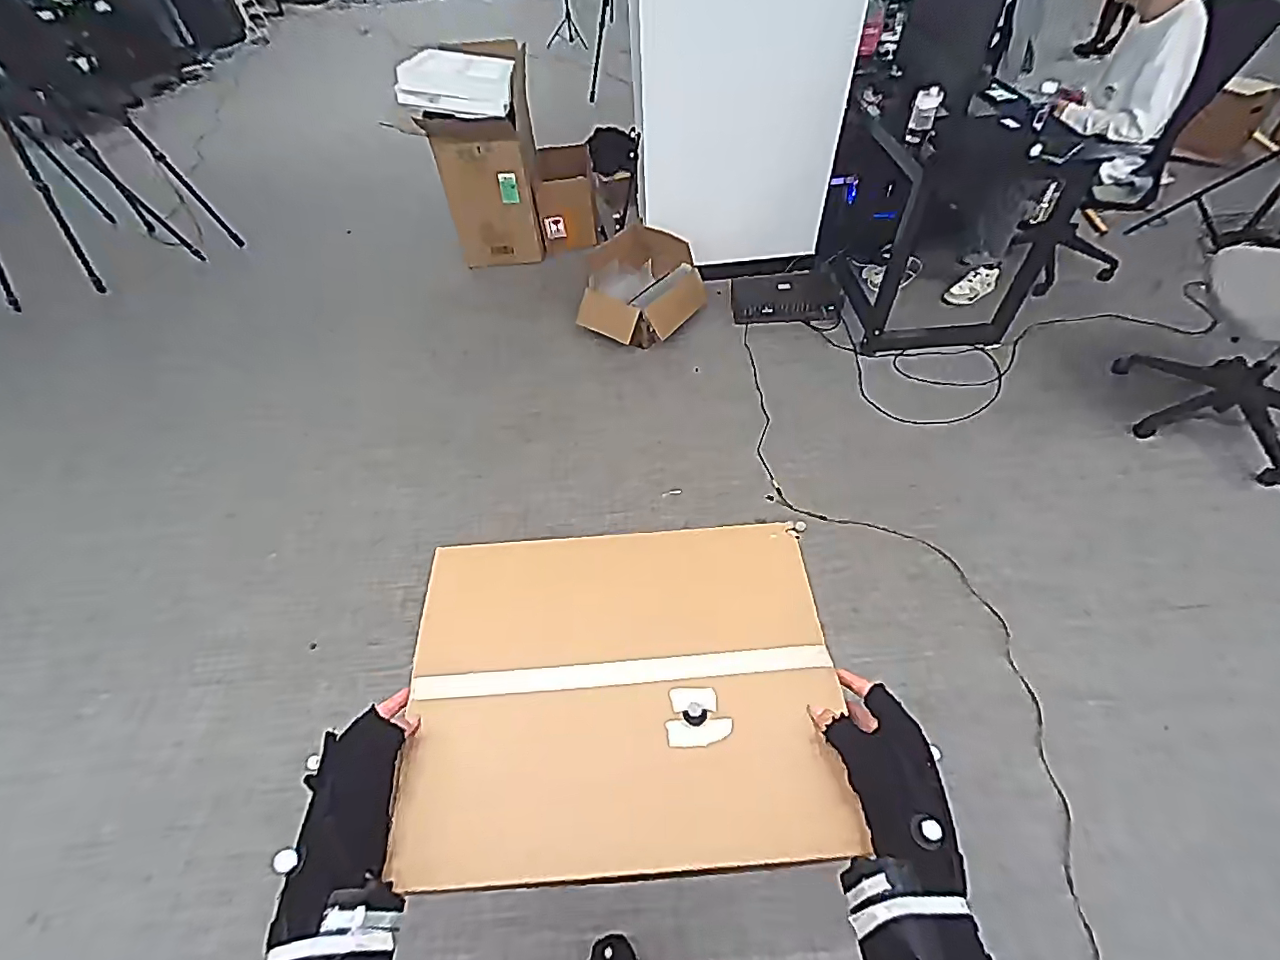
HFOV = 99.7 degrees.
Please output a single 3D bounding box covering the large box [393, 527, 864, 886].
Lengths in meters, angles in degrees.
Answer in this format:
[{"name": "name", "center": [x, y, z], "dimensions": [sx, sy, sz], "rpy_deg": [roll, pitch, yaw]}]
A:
[{"name": "large box", "center": [-0.014, 0.281, 0.654], "dimensions": [0.408, 0.320, 0.320], "rpy_deg": [-4, 53, -1]}]
